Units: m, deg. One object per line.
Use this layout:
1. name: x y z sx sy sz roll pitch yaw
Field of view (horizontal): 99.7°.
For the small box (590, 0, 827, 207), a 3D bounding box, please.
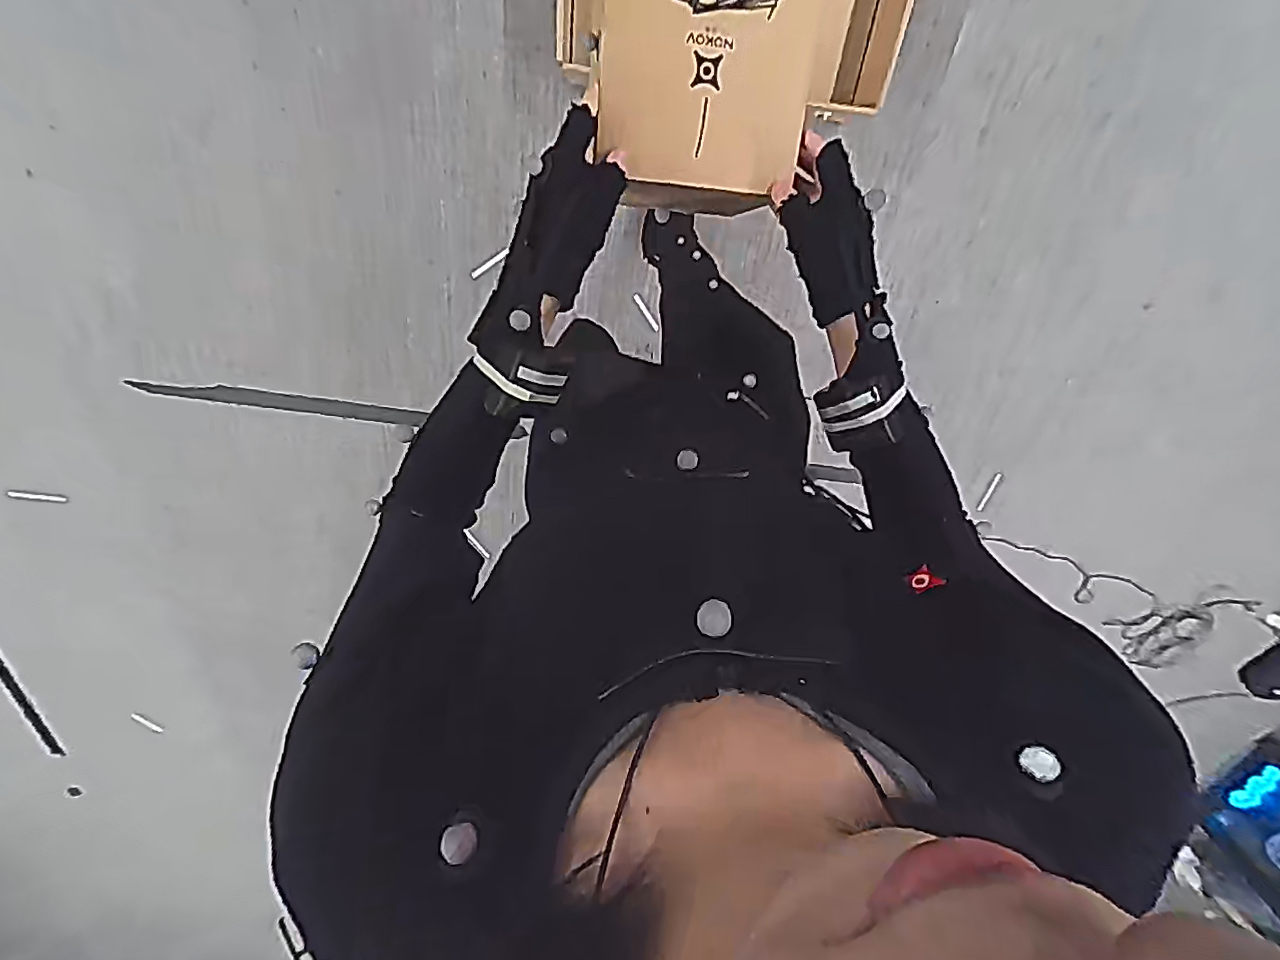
1. small box: 0.045 -0.356 0.480 0.168 0.176 0.179 2 110 -9
